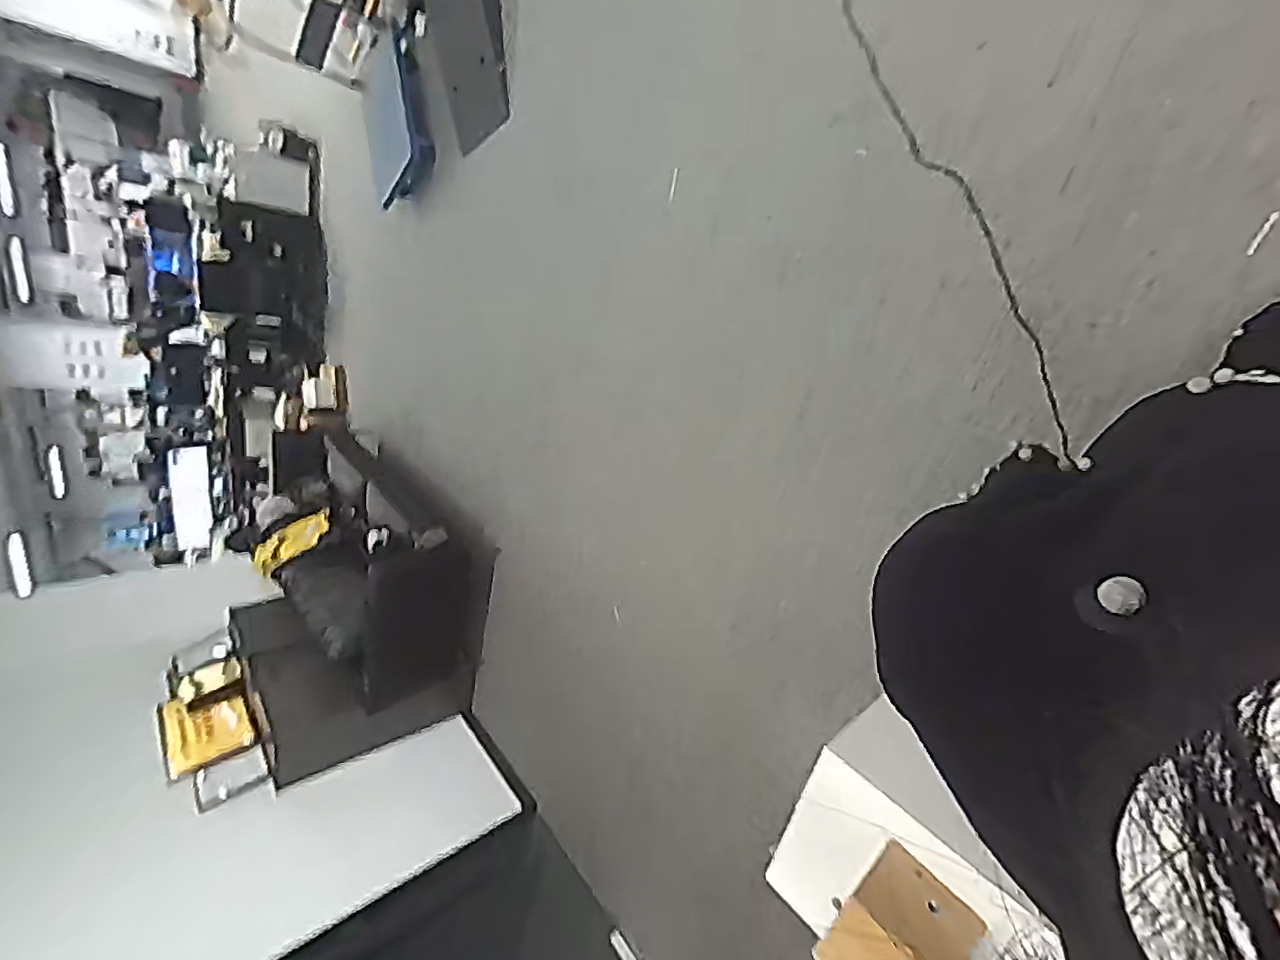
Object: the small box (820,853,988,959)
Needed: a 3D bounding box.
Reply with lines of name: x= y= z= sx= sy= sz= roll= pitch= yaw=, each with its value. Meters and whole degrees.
small box: x=0.424 y=0.765 z=0.872 sx=0.168 sy=0.176 sz=0.179 roll=33 pitch=119 yaw=39
